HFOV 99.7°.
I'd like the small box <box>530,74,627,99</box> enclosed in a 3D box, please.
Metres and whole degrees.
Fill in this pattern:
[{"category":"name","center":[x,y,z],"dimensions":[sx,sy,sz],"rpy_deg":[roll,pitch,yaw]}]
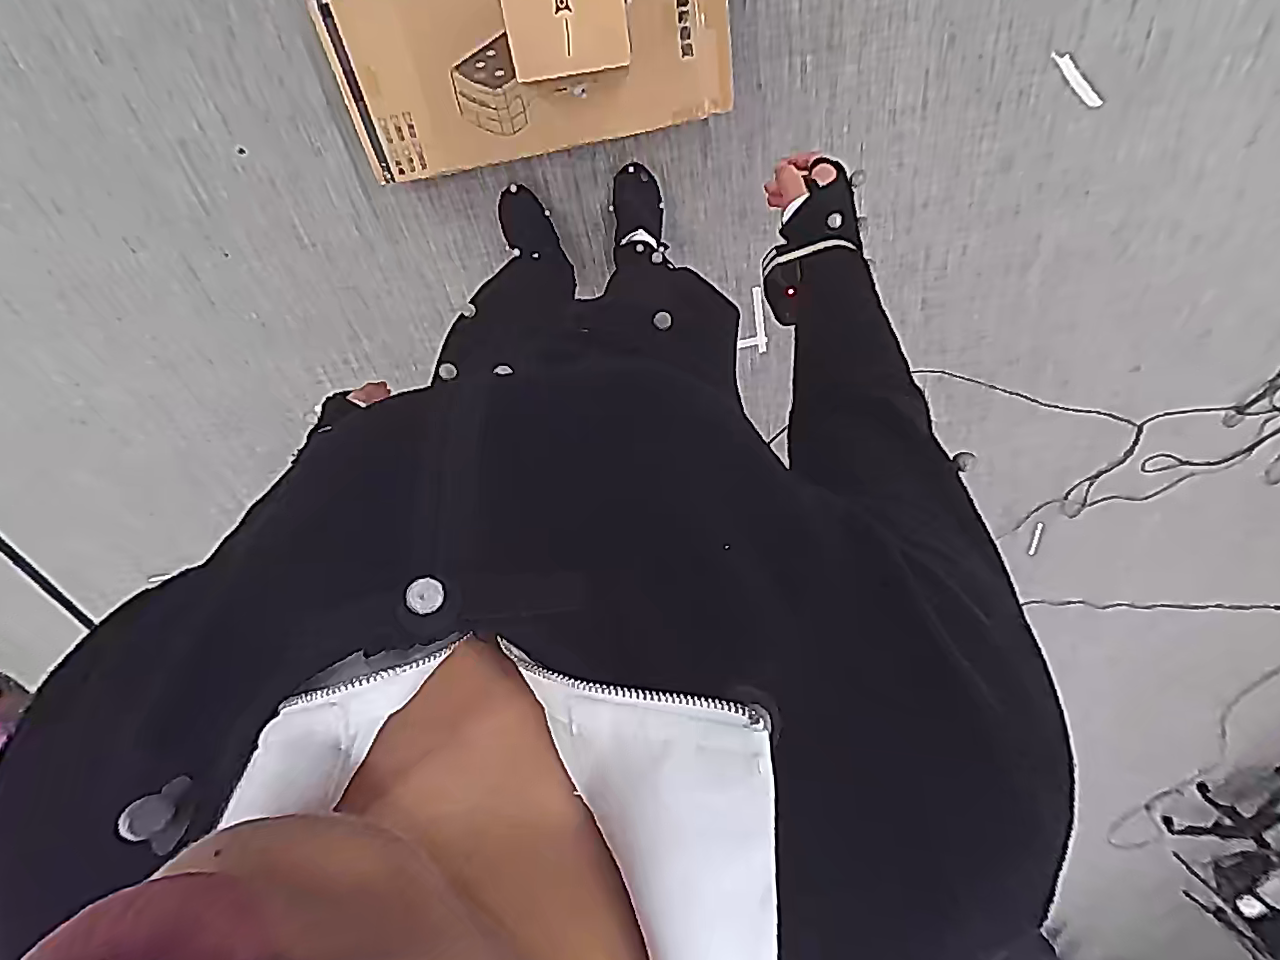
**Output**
[{"category":"small box","center":[-0.119,-0.775,0.921],"dimensions":[0.168,0.176,0.179],"rpy_deg":[-10,123,5]}]

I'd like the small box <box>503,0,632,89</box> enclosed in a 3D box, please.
[{"category":"small box","center":[-0.105,-0.688,0.782],"dimensions":[0.168,0.176,0.179],"rpy_deg":[-7,123,3]}]
